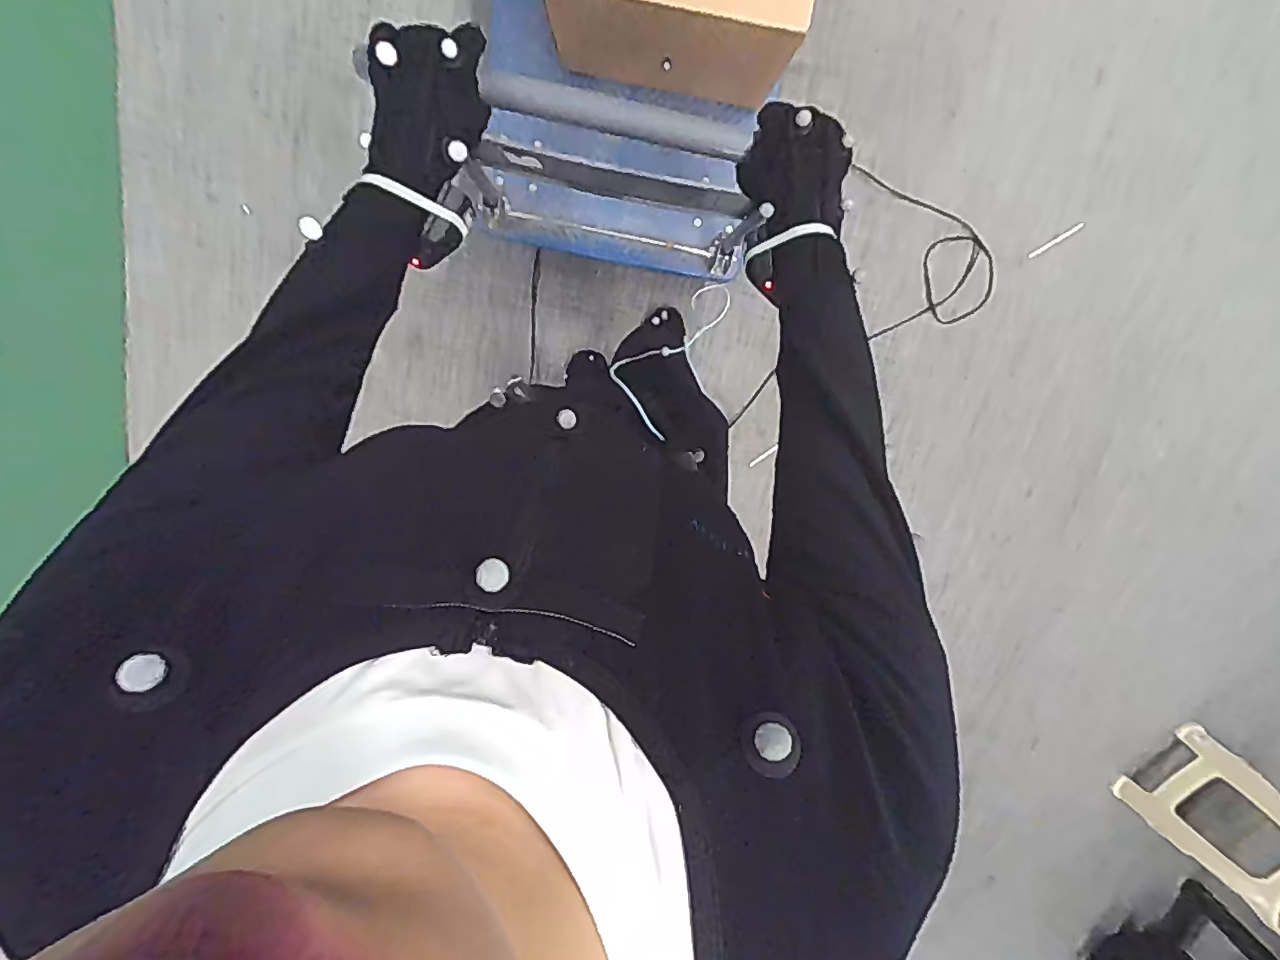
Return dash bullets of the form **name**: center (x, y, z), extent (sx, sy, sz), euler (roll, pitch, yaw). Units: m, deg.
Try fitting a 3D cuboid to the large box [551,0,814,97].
- **large box**: center (0.079, -0.892, 0.897), extent (0.408, 0.320, 0.320), euler (9, 106, -3)
